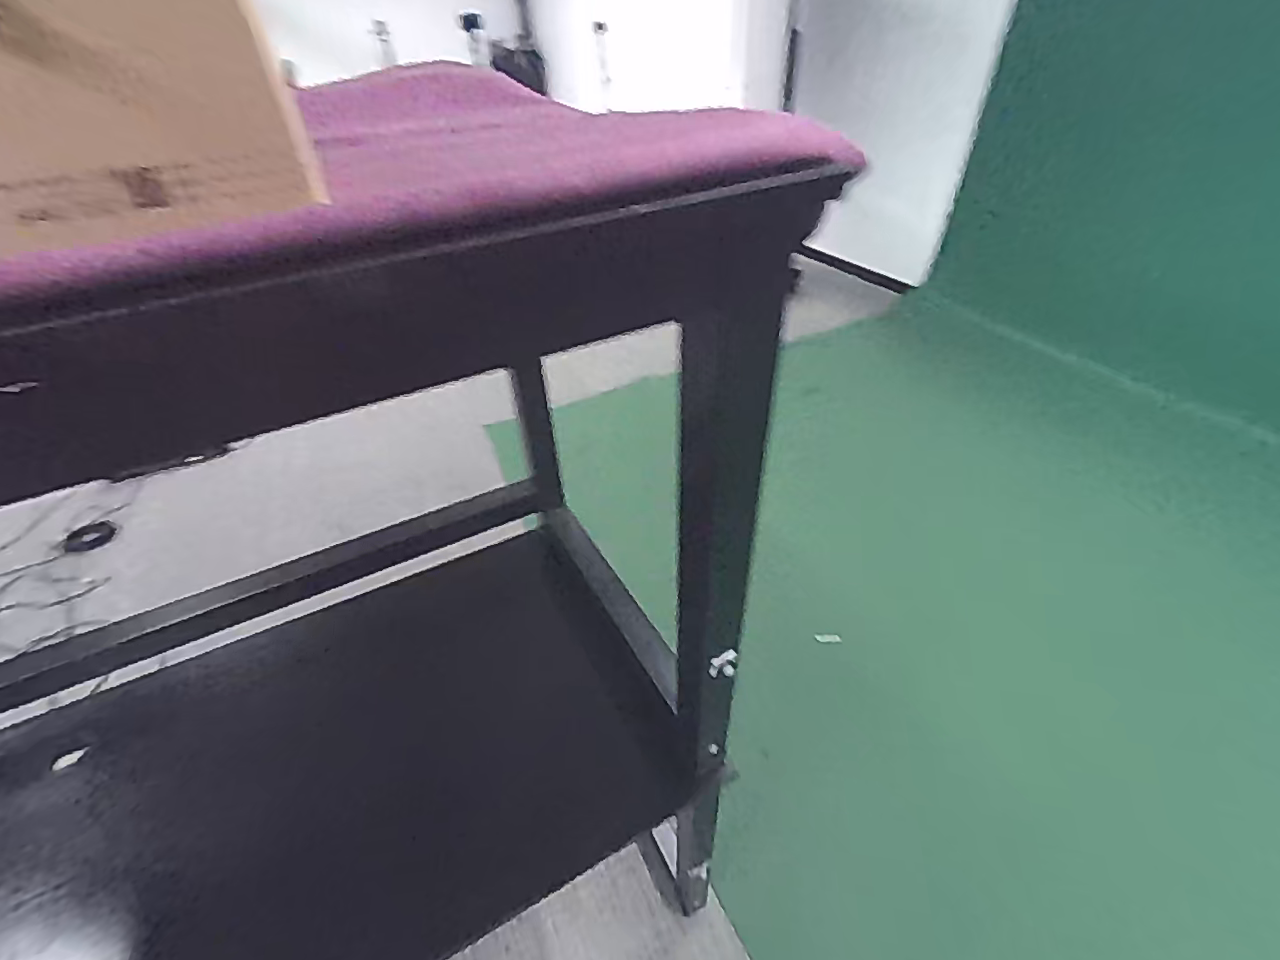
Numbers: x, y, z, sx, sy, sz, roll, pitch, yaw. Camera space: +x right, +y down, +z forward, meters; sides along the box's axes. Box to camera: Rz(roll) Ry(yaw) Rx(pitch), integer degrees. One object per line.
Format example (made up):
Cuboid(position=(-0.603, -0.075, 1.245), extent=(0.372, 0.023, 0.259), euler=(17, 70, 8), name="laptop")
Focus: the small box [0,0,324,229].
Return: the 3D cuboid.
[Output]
Cuboid(position=(-0.254, -0.212, 0.226), extent=(0.168, 0.176, 0.179), euler=(-20, 44, -19), name="small box")
